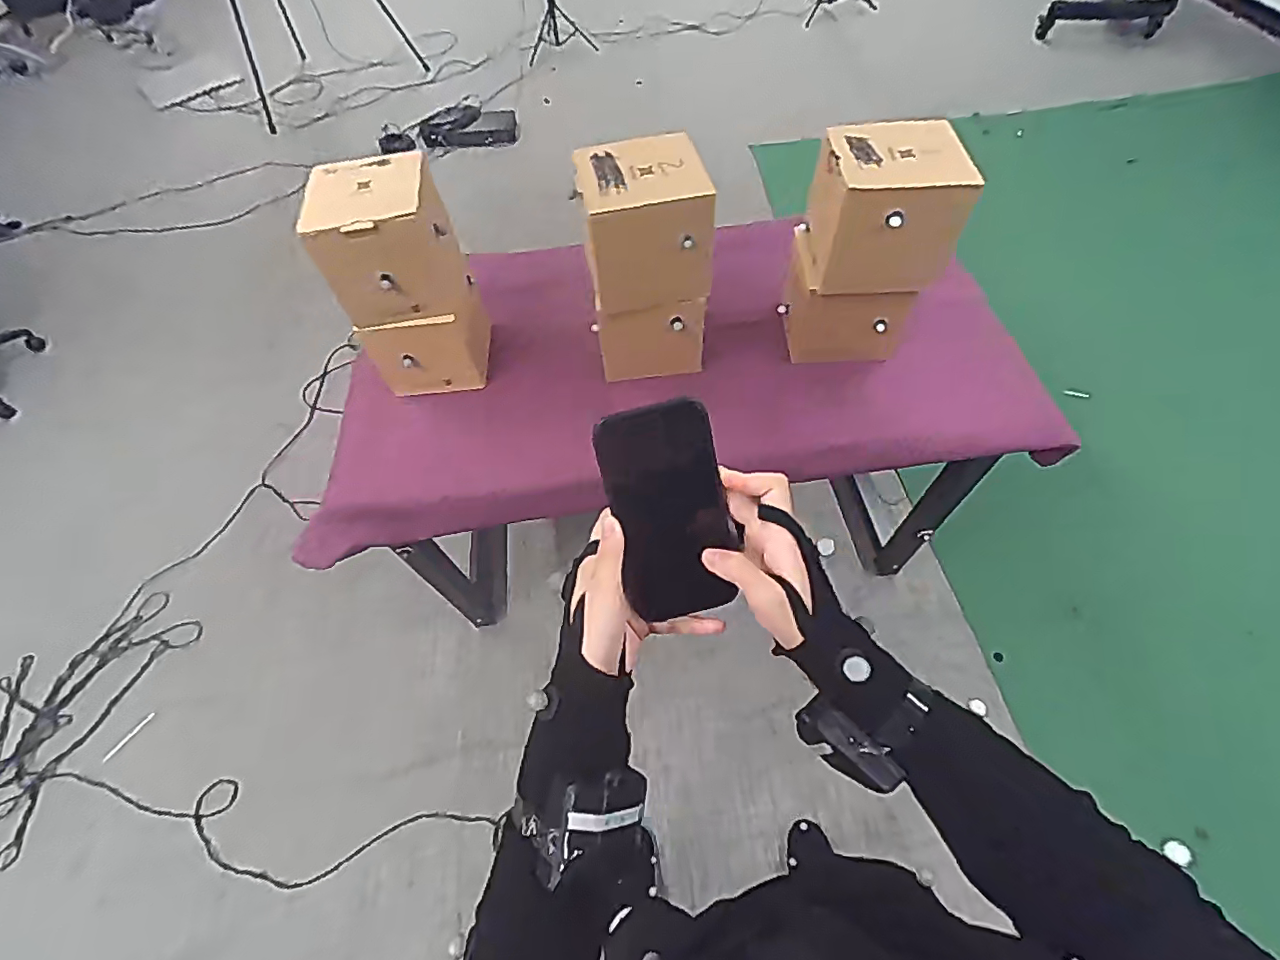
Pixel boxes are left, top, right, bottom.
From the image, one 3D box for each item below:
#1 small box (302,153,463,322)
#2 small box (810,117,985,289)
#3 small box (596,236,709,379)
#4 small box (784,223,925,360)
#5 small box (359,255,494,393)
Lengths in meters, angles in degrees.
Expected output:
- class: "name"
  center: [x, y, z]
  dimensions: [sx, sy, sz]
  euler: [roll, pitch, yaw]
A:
- class: "small box"
  center: [-0.382, -0.365, 0.837]
  dimensions: [0.168, 0.176, 0.179]
  euler: [-10, 58, -2]
- class: "small box"
  center: [0.358, -0.401, 0.797]
  dimensions: [0.179, 0.176, 0.168]
  euler: [-1, 58, 3]
- class: "small box"
  center: [0.021, -0.299, 0.954]
  dimensions: [0.179, 0.176, 0.168]
  euler: [-7, 58, 1]
- class: "small box"
  center: [0.360, -0.326, 0.943]
  dimensions: [0.179, 0.176, 0.168]
  euler: [-1, 57, 4]
- class: "small box"
  center: [-0.369, -0.271, 0.971]
  dimensions: [0.168, 0.176, 0.179]
  euler: [-6, 58, 1]
